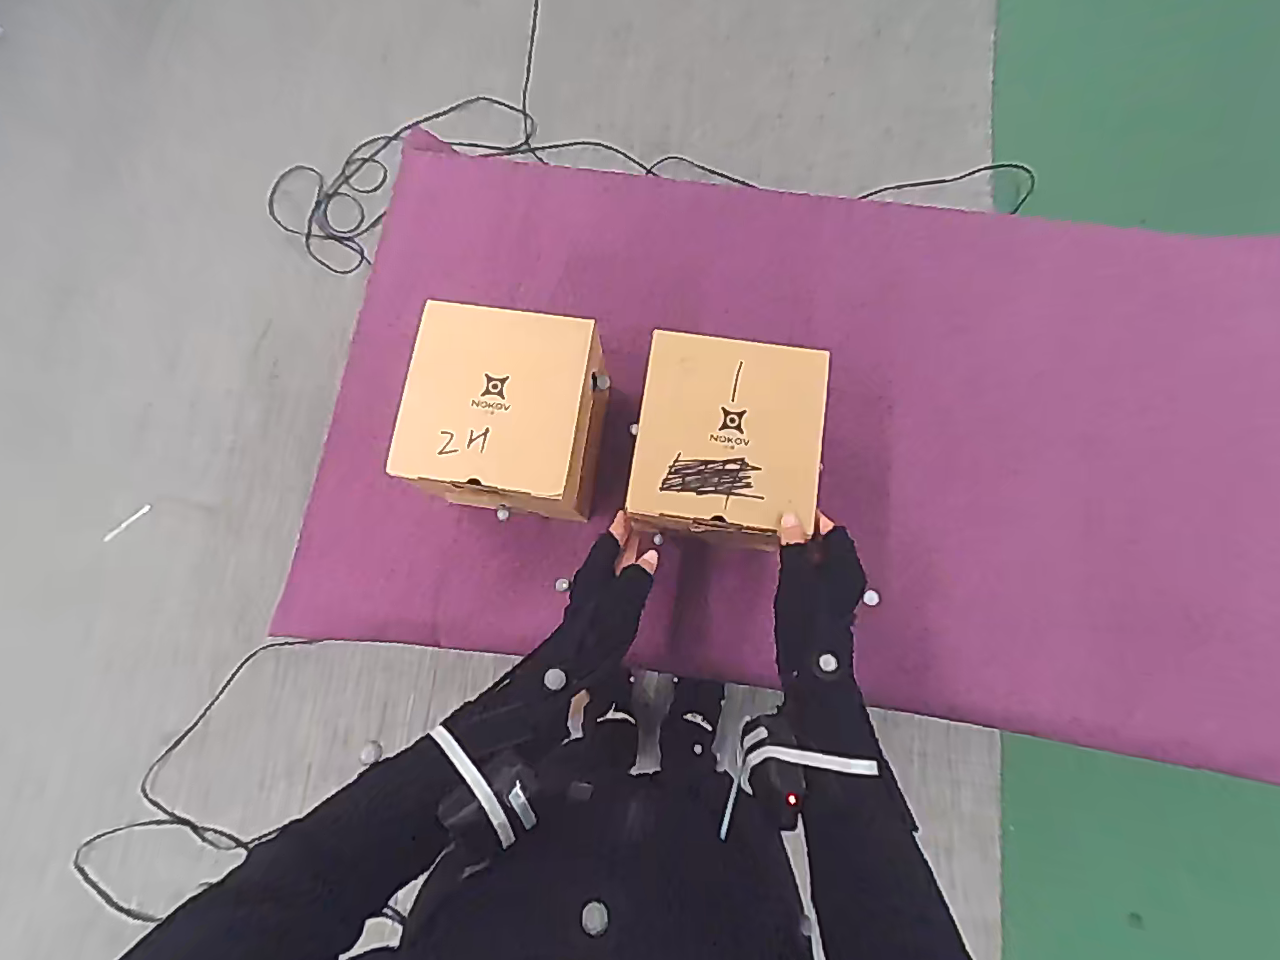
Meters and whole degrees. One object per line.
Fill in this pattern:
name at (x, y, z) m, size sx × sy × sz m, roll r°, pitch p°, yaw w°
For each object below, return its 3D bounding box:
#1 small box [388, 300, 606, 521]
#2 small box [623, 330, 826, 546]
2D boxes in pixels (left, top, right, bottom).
small box at (-0.133, -0.063, 0.580) m, size 0.168 × 0.176 × 0.179 m, roll 9°, pitch 79°, yaw 4°
small box at (0.082, -0.031, 0.567) m, size 0.168 × 0.176 × 0.179 m, roll 8°, pitch 79°, yaw 4°
